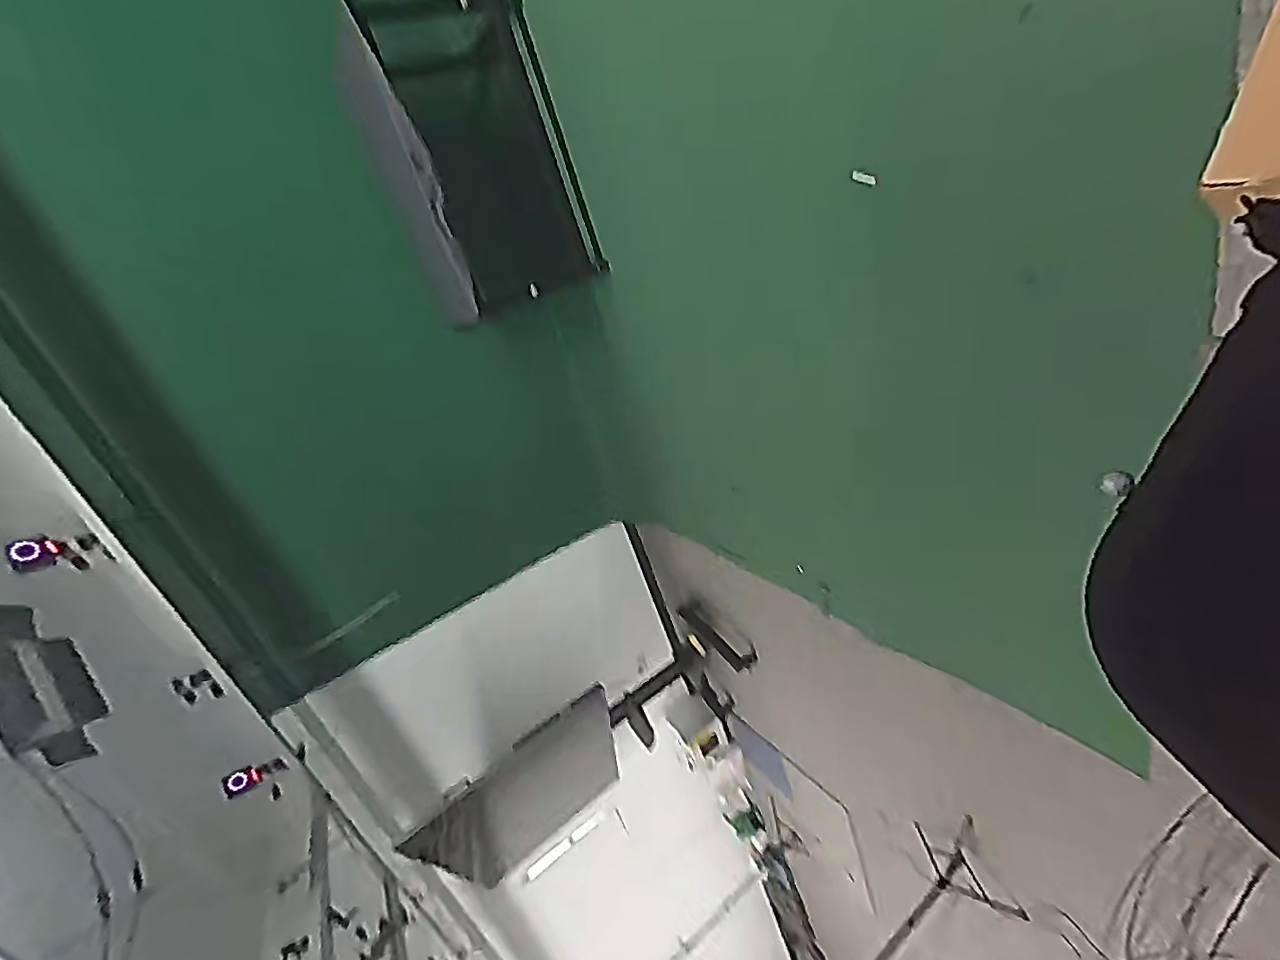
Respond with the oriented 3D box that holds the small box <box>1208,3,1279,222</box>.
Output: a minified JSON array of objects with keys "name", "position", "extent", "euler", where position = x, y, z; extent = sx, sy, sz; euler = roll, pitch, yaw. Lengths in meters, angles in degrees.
[{"name":"small box","position":[0.664,-0.342,0.484],"extent":[0.168,0.179,0.176],"euler":[28,118,47]}]
